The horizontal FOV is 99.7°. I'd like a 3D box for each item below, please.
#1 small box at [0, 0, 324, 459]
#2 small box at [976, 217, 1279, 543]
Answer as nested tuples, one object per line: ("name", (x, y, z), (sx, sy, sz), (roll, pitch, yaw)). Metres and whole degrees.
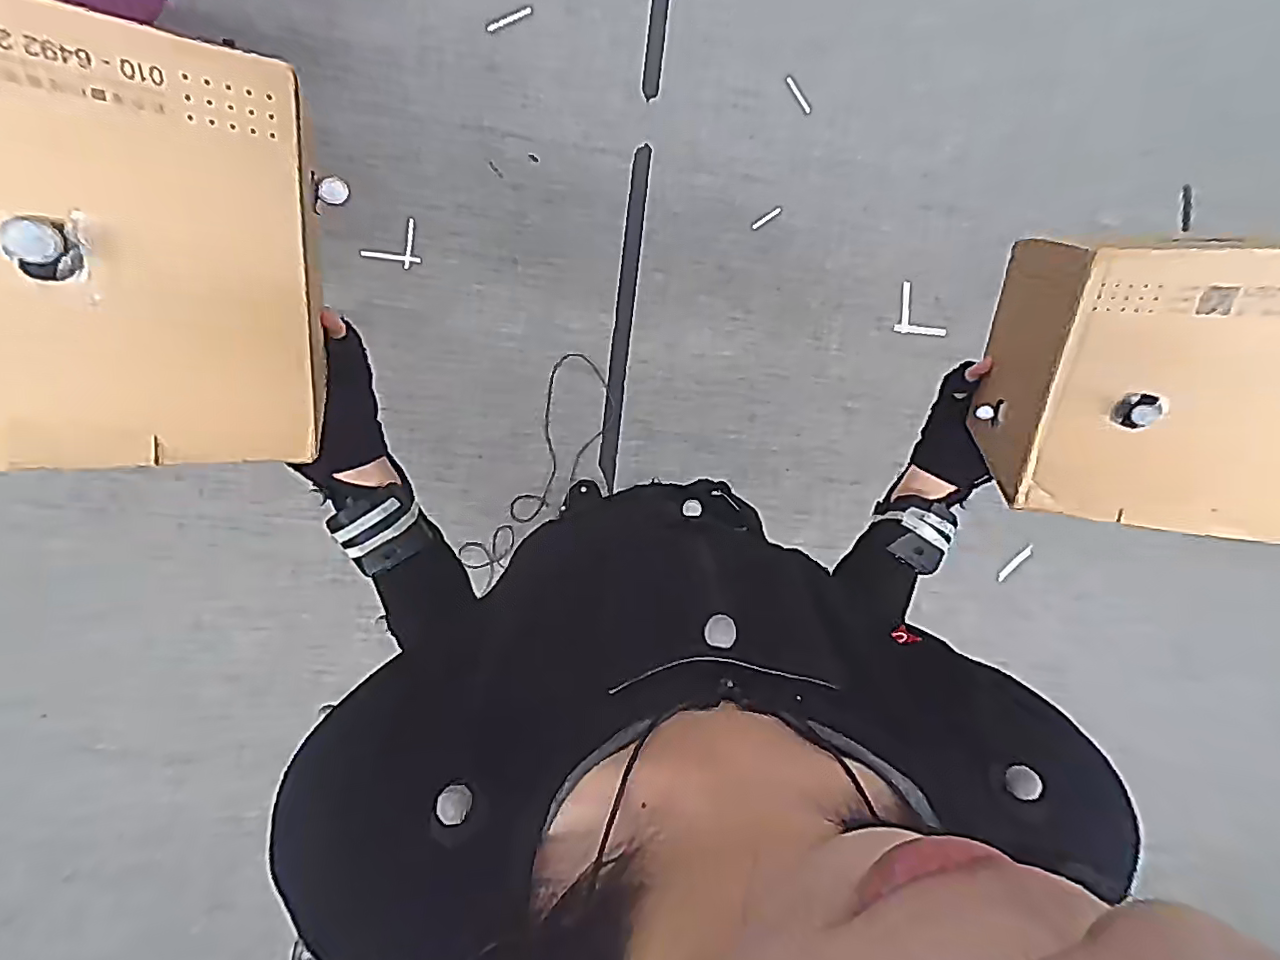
("small box", (-0.251, -0.116, 0.256), (0.168, 0.179, 0.176), (-2, 113, -28))
("small box", (0.354, -0.079, 0.362), (0.168, 0.179, 0.176), (9, 119, 18))
